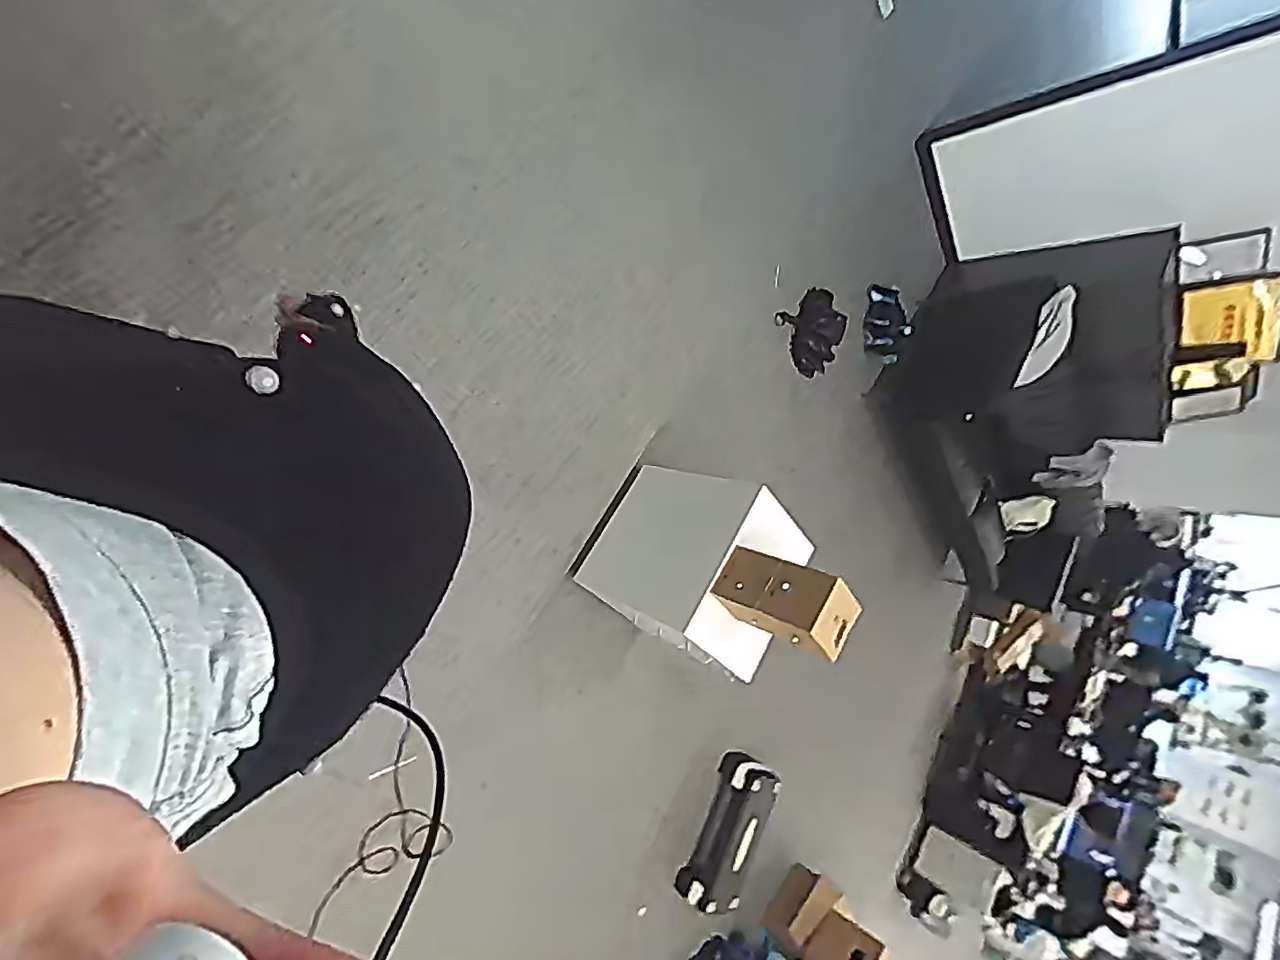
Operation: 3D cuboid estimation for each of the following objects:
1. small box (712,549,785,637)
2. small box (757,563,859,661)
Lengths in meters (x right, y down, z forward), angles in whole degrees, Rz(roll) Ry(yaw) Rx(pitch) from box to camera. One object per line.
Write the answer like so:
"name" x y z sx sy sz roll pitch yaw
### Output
"small box" 0.334 0.315 1.545 0.179 0.176 0.168 47 68 -38
"small box" 0.441 0.340 1.423 0.179 0.176 0.168 48 67 -35
